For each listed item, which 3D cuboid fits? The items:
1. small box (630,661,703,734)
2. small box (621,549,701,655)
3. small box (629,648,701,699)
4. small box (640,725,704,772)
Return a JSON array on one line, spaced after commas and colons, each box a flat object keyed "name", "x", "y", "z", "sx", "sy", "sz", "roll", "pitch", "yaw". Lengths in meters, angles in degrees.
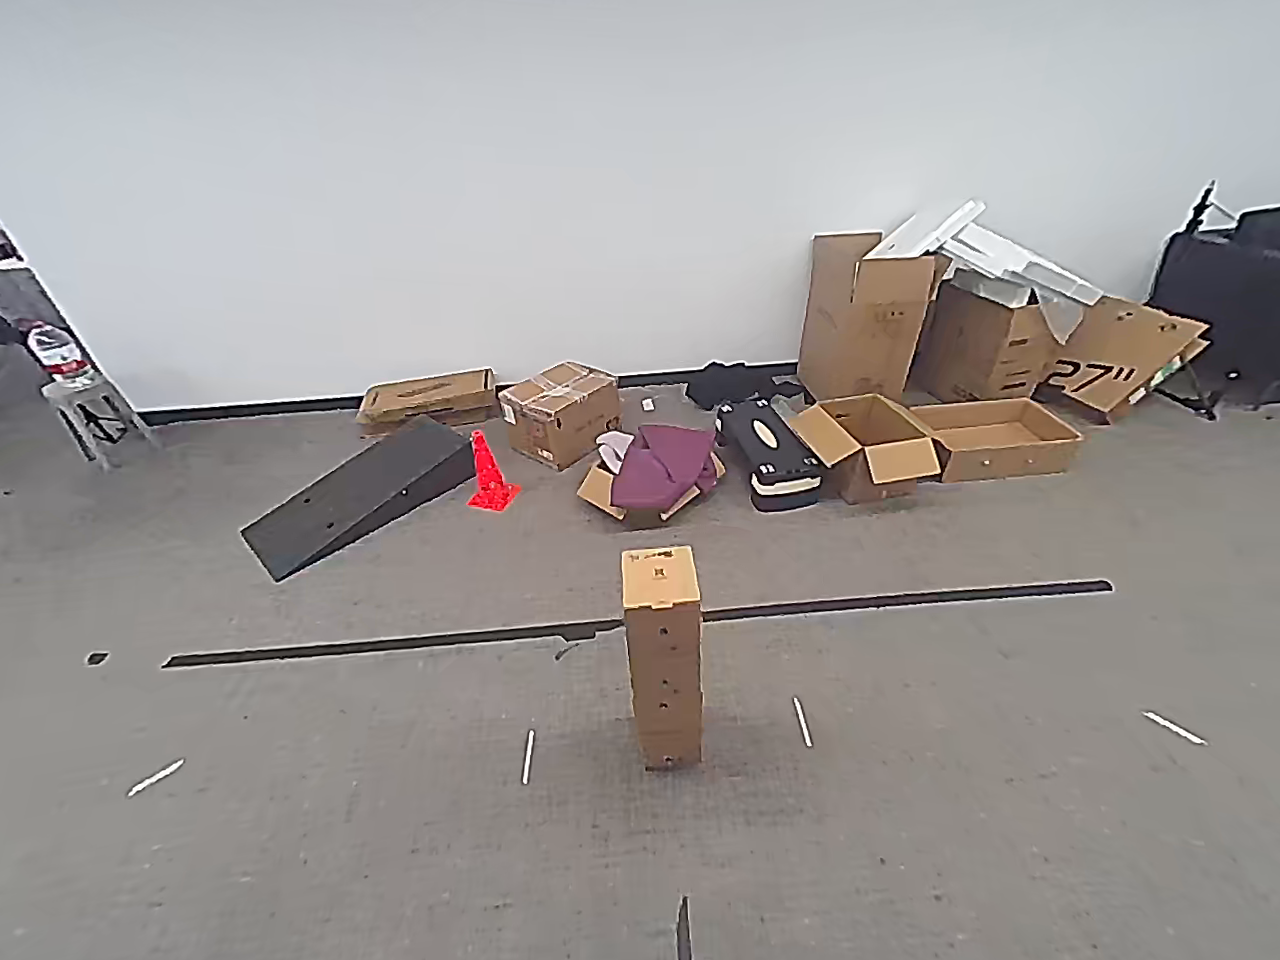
[{"name": "small box", "x": 0.069, "y": 0.549, "z": 1.426, "sx": 0.179, "sy": 0.176, "sz": 0.168, "roll": -5, "pitch": 36, "yaw": -1}, {"name": "small box", "x": 0.048, "y": 0.282, "z": 1.235, "sx": 0.168, "sy": 0.176, "sz": 0.179, "roll": -5, "pitch": 36, "yaw": 0}, {"name": "small box", "x": 0.061, "y": 0.414, "z": 1.332, "sx": 0.168, "sy": 0.176, "sz": 0.179, "roll": -4, "pitch": 36, "yaw": 3}, {"name": "small box", "x": 0.080, "y": 0.684, "z": 1.520, "sx": 0.168, "sy": 0.176, "sz": 0.179, "roll": -8, "pitch": 37, "yaw": -4}]
